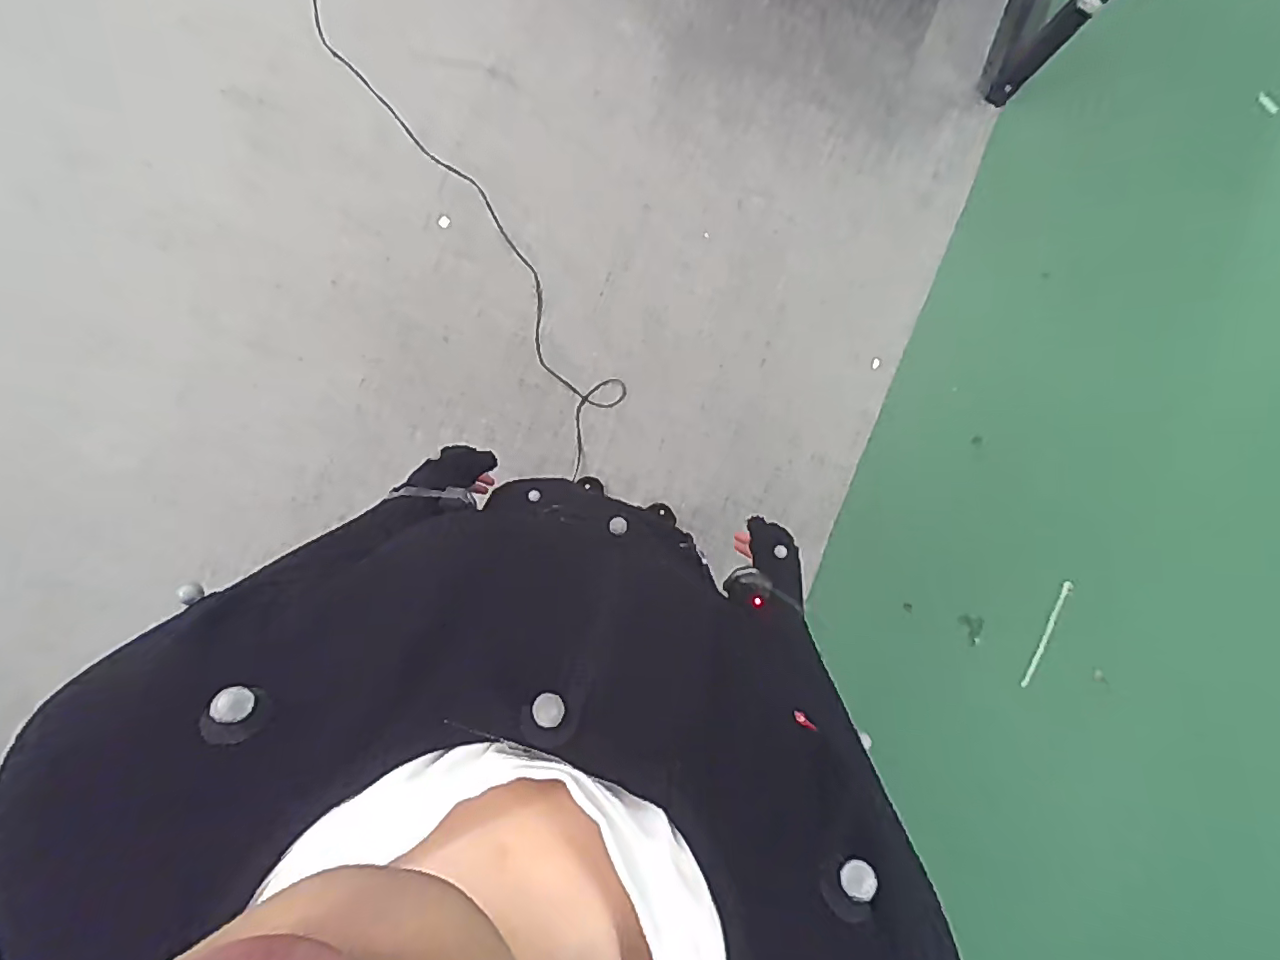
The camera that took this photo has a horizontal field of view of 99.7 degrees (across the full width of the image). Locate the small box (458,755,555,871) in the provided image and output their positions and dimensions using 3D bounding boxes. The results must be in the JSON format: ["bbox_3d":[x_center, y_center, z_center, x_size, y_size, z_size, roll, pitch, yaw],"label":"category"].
[{"bbox_3d":[-0.323,0.813,1.338,0.179,0.176,0.168,13,91,0],"label":"small box"}]
